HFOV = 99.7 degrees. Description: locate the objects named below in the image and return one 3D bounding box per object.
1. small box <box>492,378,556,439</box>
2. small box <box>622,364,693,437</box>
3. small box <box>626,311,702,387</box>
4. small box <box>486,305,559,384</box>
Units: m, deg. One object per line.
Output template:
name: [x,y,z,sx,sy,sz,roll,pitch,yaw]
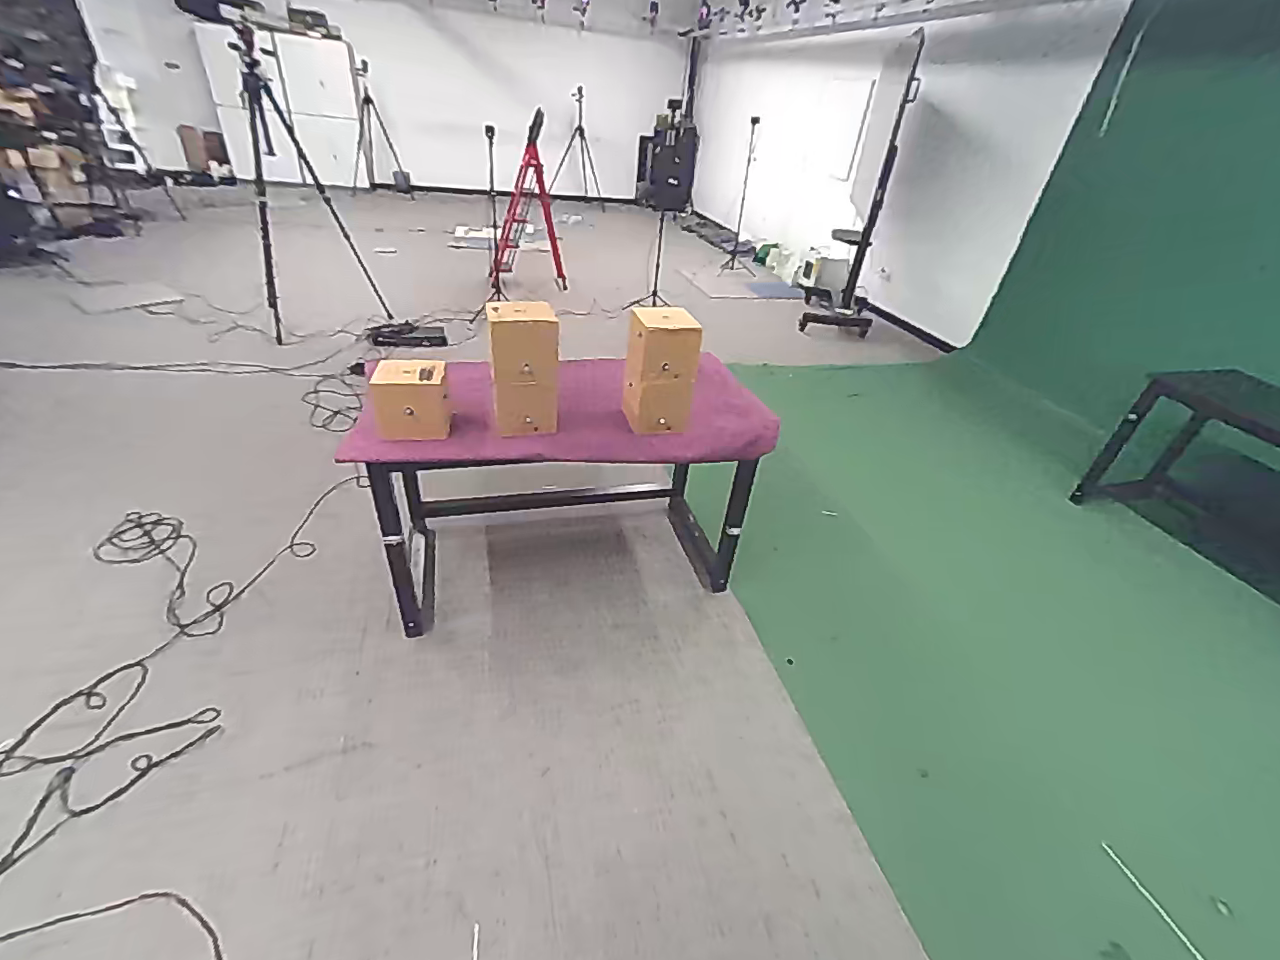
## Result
small box: [-0.340,-0.235,1.572,0.168,0.176,0.179,-6,35,-17]
small box: [0.046,-0.245,1.657,0.168,0.176,0.179,-5,36,-15]
small box: [0.061,-0.381,1.570,0.168,0.176,0.179,-5,36,-16]
small box: [-0.325,-0.369,1.479,0.179,0.176,0.168,-5,34,-18]
